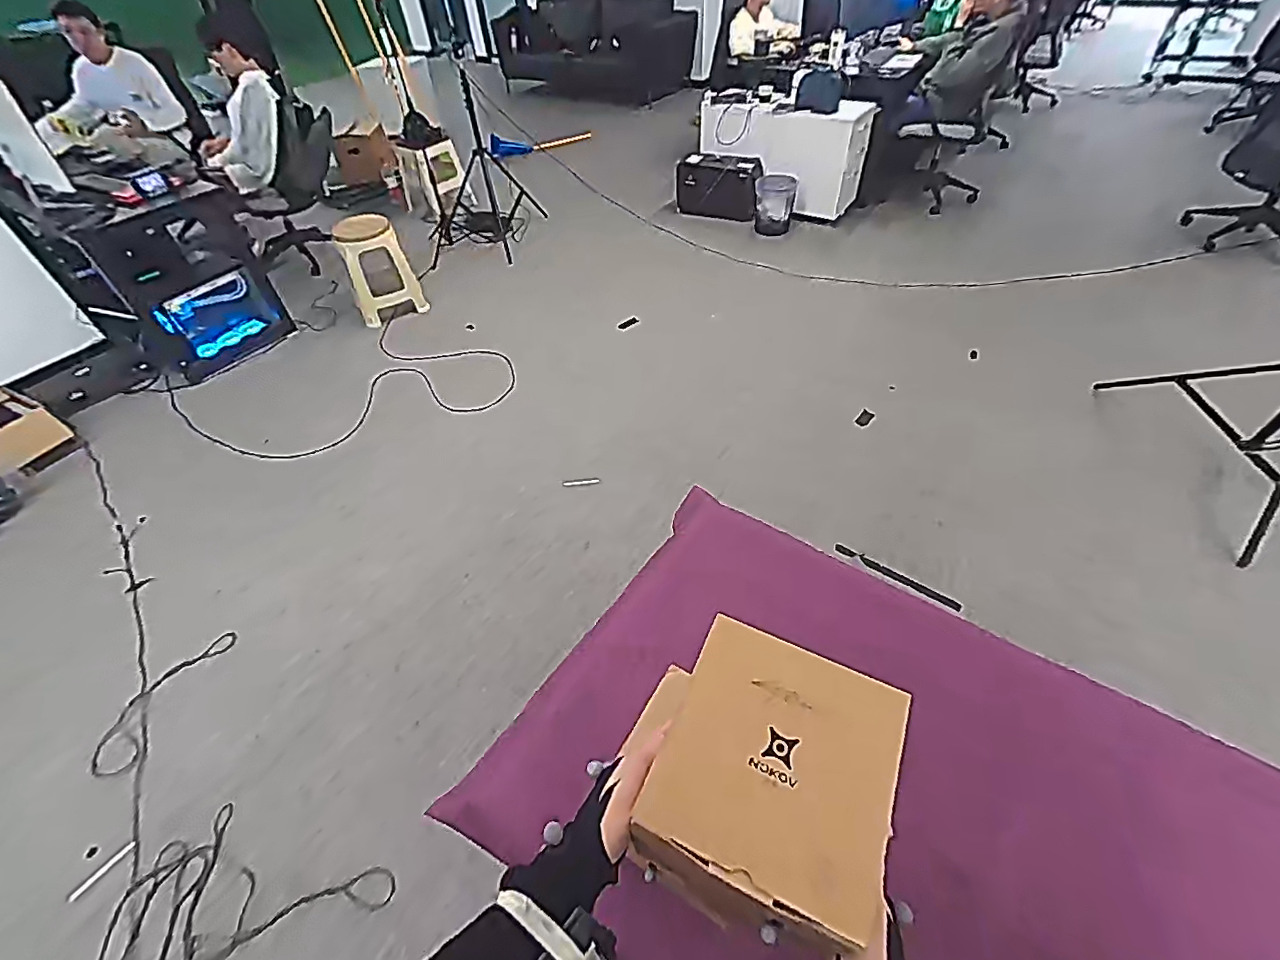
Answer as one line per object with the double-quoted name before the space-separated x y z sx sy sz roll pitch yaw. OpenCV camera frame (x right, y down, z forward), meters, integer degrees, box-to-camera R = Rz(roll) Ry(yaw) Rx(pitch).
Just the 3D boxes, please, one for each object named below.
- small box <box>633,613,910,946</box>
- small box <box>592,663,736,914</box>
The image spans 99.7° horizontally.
"small box" 0.106 0.254 0.464 0.168 0.176 0.179 20 52 16
"small box" 0.067 0.356 0.624 0.168 0.176 0.179 23 51 22
